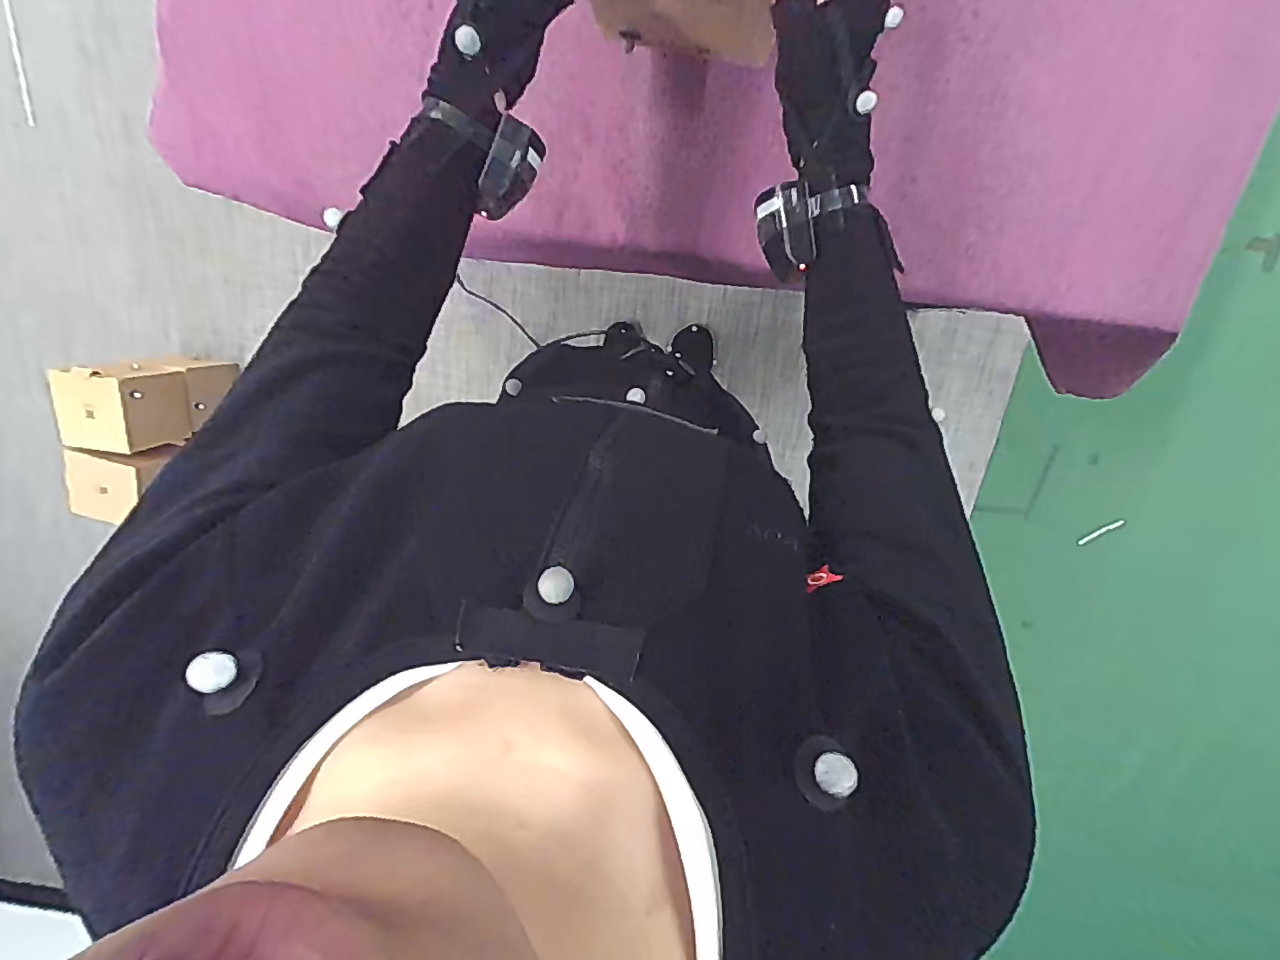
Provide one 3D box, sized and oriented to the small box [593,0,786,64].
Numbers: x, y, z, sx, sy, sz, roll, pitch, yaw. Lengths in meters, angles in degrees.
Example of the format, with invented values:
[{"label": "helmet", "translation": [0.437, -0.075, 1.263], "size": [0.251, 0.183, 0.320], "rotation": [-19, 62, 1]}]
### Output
[{"label": "small box", "translation": [0.051, -0.473, 0.437], "size": [0.168, 0.176, 0.179], "rotation": [10, 112, 0]}]
